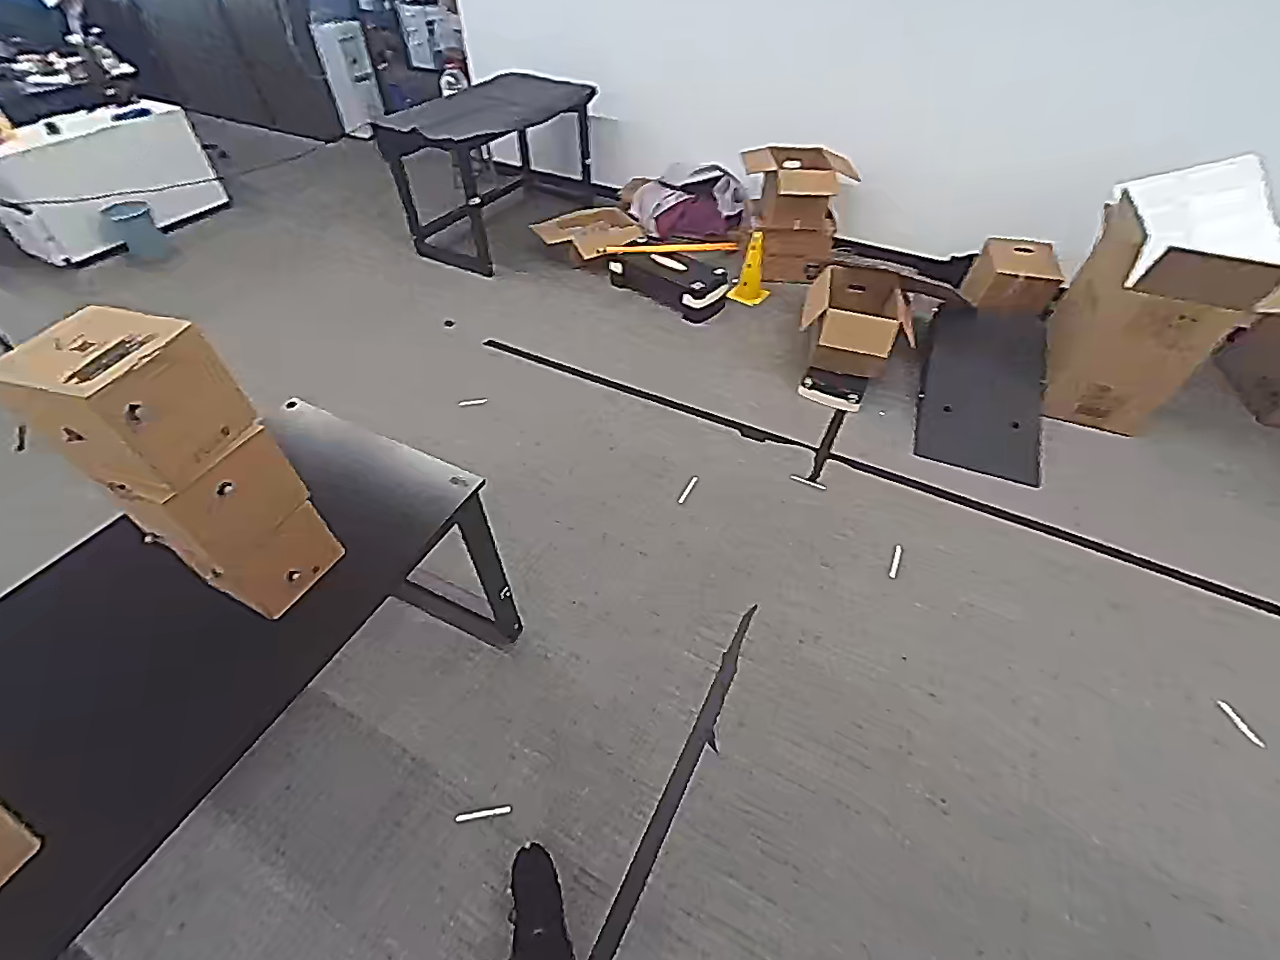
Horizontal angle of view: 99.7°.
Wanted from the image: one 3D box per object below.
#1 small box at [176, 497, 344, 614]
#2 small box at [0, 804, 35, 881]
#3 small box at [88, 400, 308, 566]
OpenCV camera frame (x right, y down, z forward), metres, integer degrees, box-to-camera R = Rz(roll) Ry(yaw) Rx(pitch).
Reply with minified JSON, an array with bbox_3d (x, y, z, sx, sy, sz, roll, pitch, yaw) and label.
[{"bbox_3d":[-0.686,0.115,0.980,0.179,0.176,0.168,21,51,16],"label":"small box"},{"bbox_3d":[-0.924,0.468,0.655,0.179,0.176,0.168,20,51,16],"label":"small box"},{"bbox_3d":[-0.677,0.007,0.856,0.168,0.176,0.179,18,49,14],"label":"small box"}]
